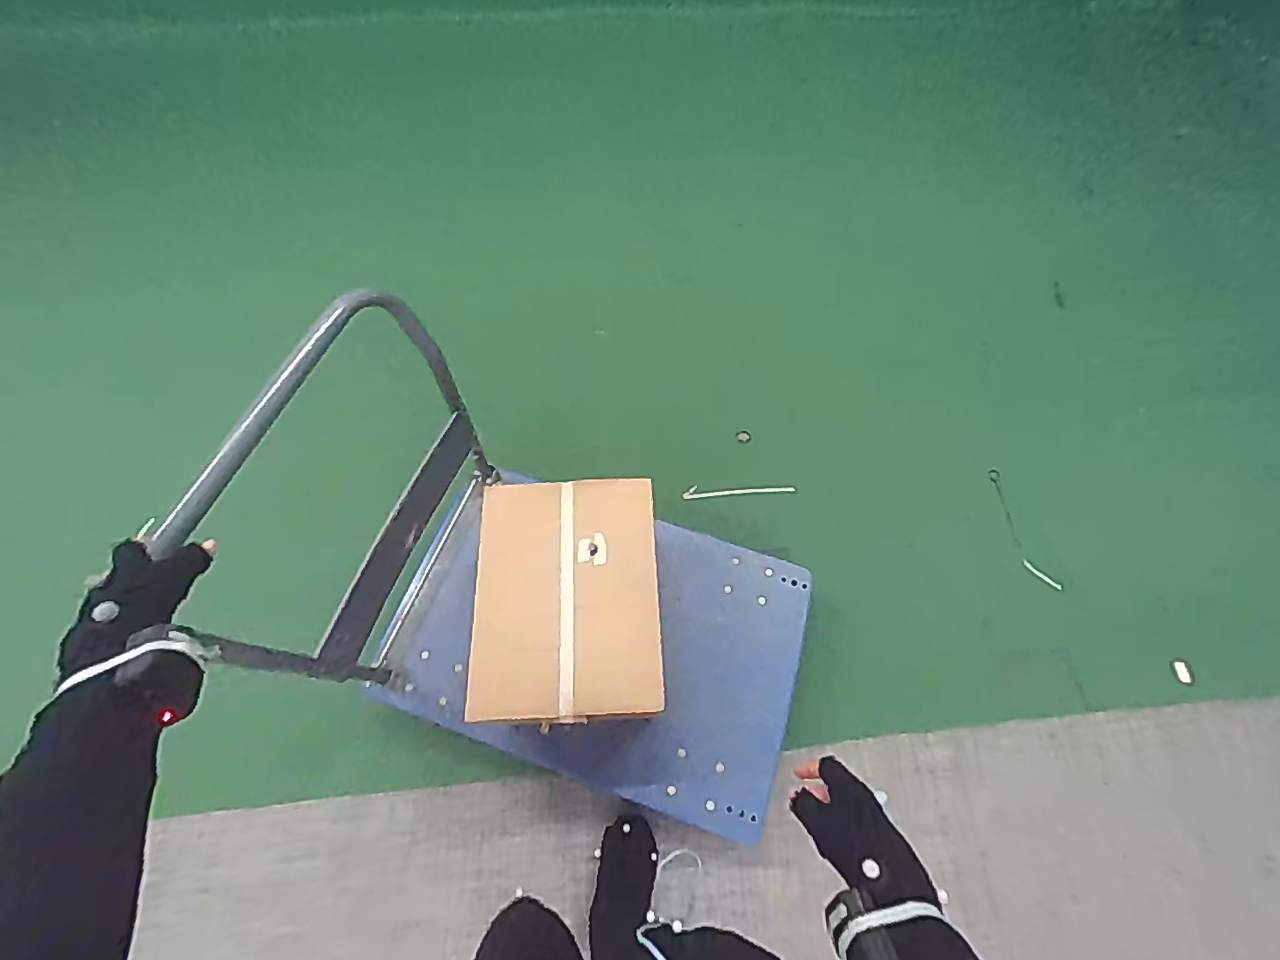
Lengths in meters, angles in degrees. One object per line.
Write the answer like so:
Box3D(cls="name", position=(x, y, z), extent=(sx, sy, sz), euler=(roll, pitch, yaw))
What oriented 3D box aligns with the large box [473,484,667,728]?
Box3D(cls="large box", position=(-0.120, 0.259, 1.070), extent=(0.320, 0.320, 0.408), euler=(-2, 64, -1))
